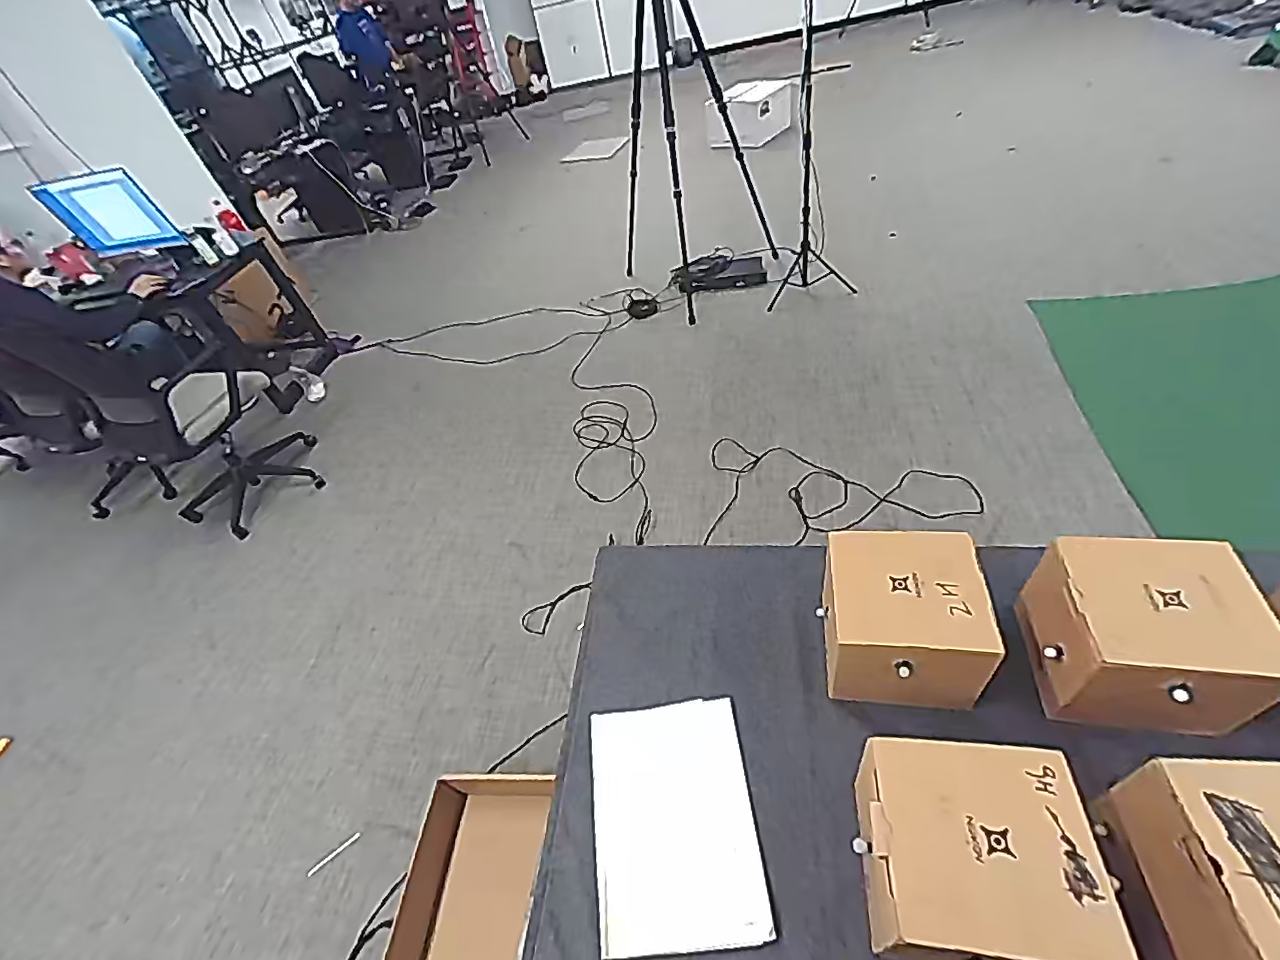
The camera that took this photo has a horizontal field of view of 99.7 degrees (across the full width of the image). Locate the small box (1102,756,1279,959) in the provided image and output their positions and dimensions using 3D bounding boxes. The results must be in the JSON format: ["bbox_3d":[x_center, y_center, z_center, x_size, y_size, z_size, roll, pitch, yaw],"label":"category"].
[{"bbox_3d":[0.559,0.362,0.477,0.179,0.176,0.168,-3,46,11],"label":"small box"}]
